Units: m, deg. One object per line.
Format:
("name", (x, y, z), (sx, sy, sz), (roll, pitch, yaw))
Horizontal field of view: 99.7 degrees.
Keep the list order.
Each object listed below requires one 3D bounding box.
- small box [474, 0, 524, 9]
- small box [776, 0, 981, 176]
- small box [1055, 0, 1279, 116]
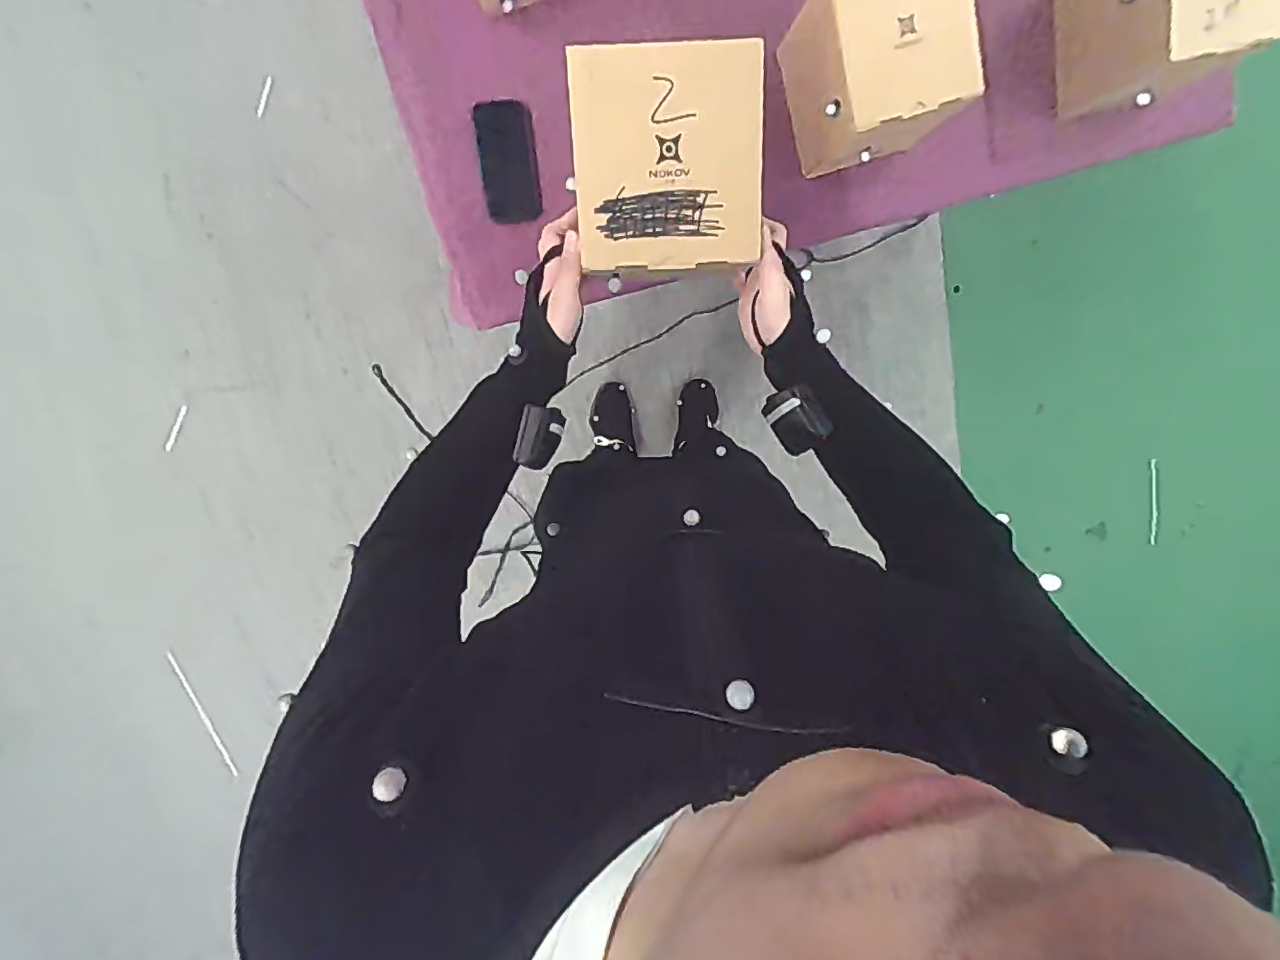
("small box", (-0.155, -0.690, 0.615), (0.168, 0.176, 0.179), (-20, 103, -1))
("small box", (0.292, -0.529, 0.694), (0.168, 0.176, 0.179), (-18, 103, -1))
("small box", (0.683, -0.619, 0.705), (0.168, 0.176, 0.179), (-13, 104, -1))
